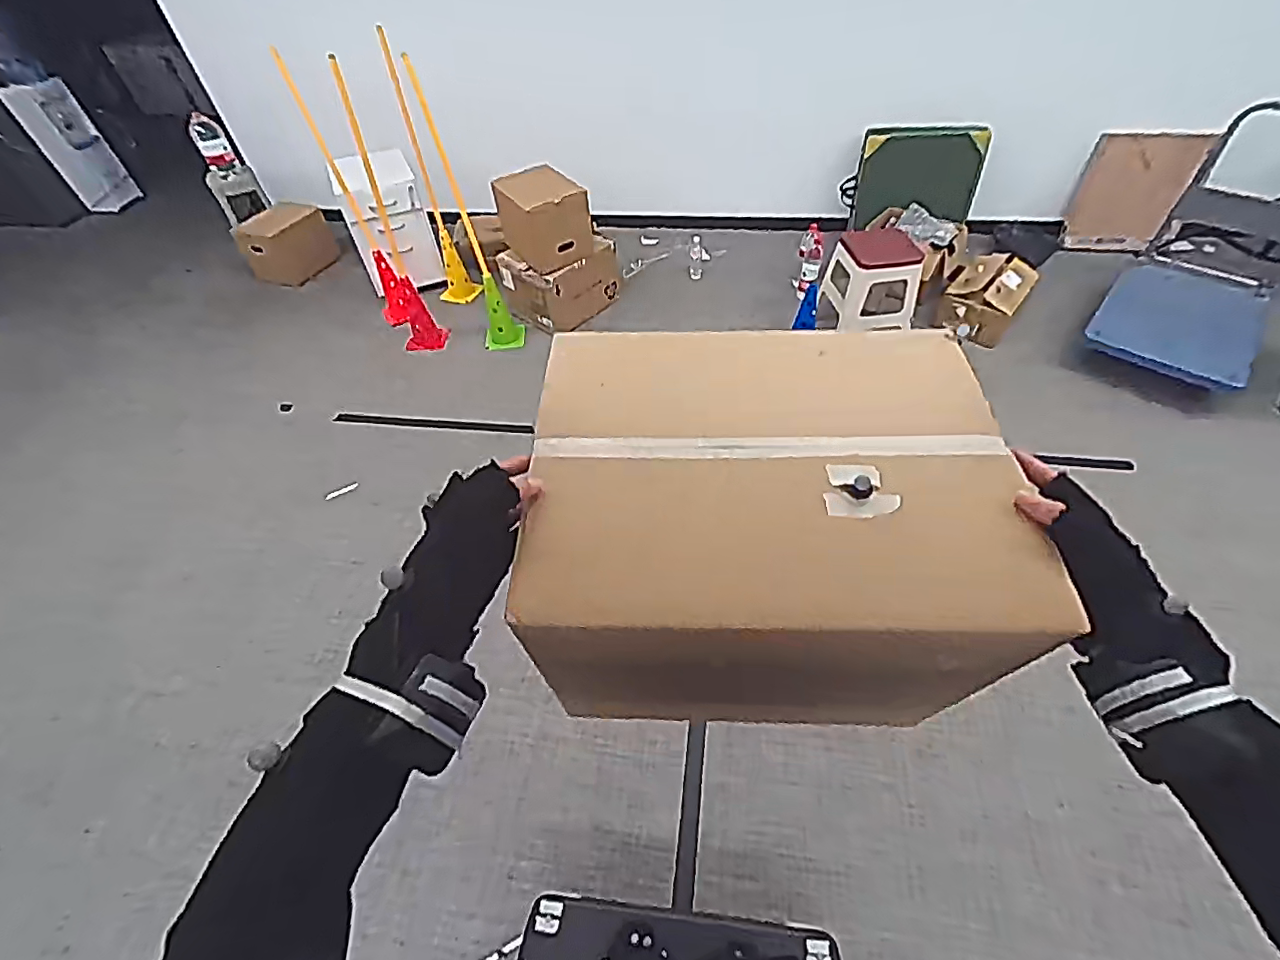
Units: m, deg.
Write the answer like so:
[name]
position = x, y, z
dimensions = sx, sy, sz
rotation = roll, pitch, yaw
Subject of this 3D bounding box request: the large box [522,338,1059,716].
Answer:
[large box]
position = 0.111, 0.065, 0.601
dimensions = 0.408, 0.320, 0.320
rotation = 0, 56, 2

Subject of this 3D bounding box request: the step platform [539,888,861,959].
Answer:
[step platform]
position = 0.122, 1.074, 1.144
dimensions = 0.684, 0.204, 0.286
rotation = 3, 50, 5
